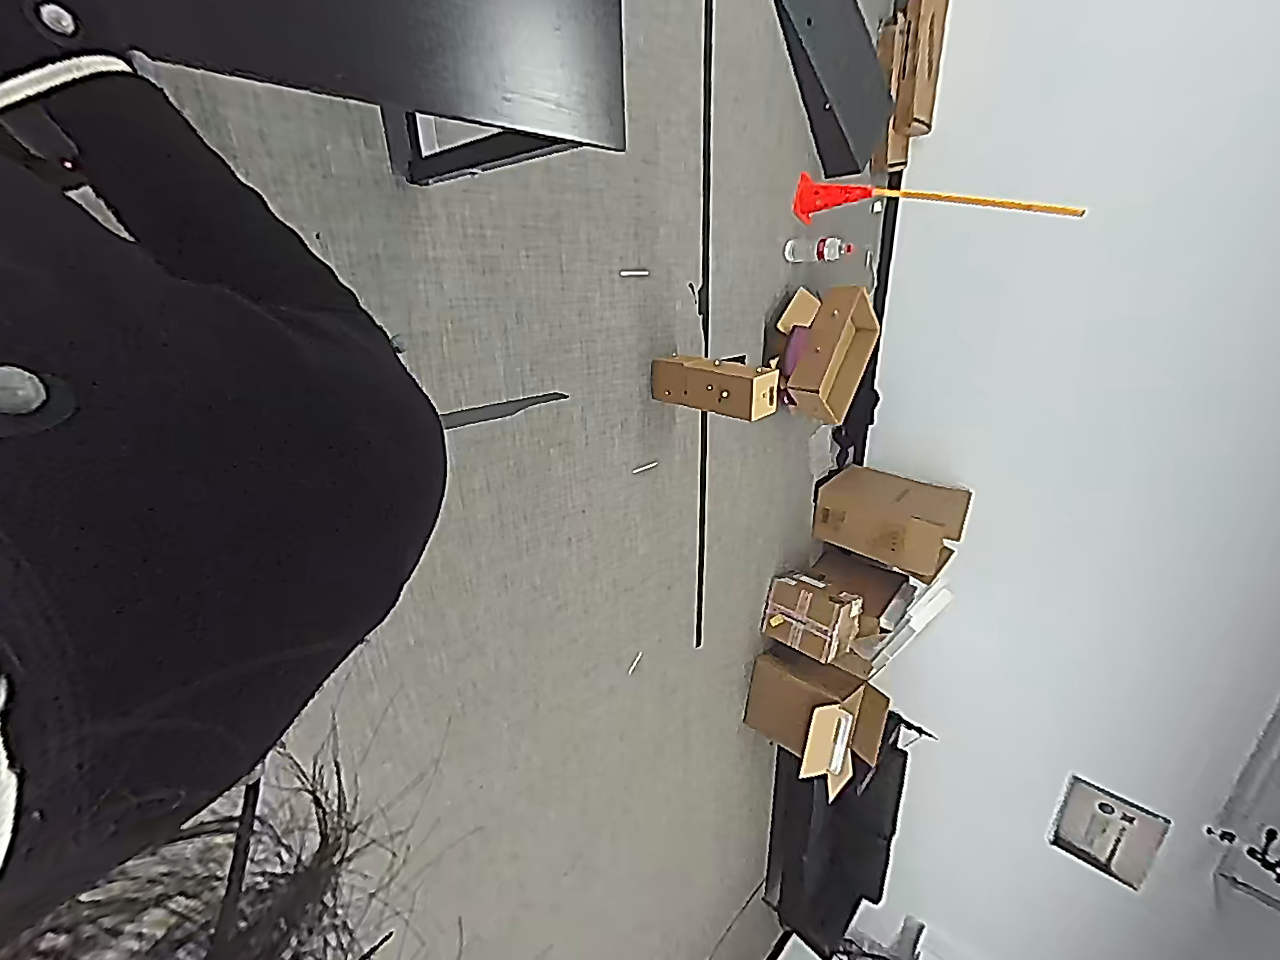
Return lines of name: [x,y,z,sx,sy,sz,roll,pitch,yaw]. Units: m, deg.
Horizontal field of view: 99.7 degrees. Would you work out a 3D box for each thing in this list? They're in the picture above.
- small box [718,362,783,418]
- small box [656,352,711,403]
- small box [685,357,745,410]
small box: [0.417,-0.344,2.043,0.179,0.176,0.168,-24,121,-40]
small box: [0.180,-0.431,2.254,0.168,0.176,0.179,-23,119,-42]
small box: [0.297,-0.389,2.147,0.179,0.176,0.168,-25,122,-42]
